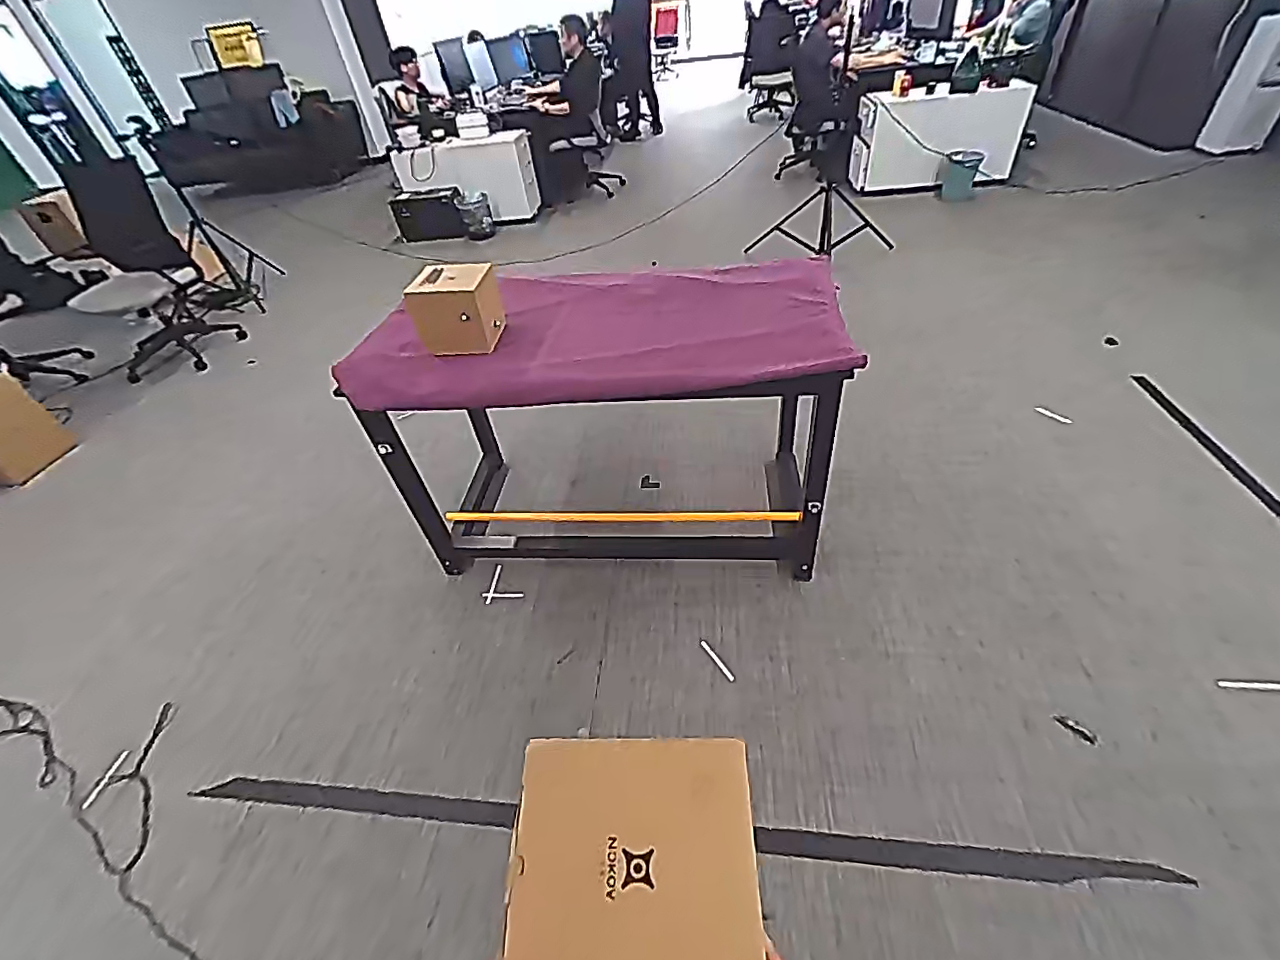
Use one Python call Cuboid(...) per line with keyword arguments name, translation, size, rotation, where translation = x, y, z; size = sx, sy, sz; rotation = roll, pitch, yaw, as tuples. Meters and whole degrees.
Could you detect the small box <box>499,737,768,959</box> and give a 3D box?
Cuboid(name="small box", translation=(0.003, 0.314, 0.438), size=(0.179, 0.176, 0.168), rotation=(-4, 52, 6))
